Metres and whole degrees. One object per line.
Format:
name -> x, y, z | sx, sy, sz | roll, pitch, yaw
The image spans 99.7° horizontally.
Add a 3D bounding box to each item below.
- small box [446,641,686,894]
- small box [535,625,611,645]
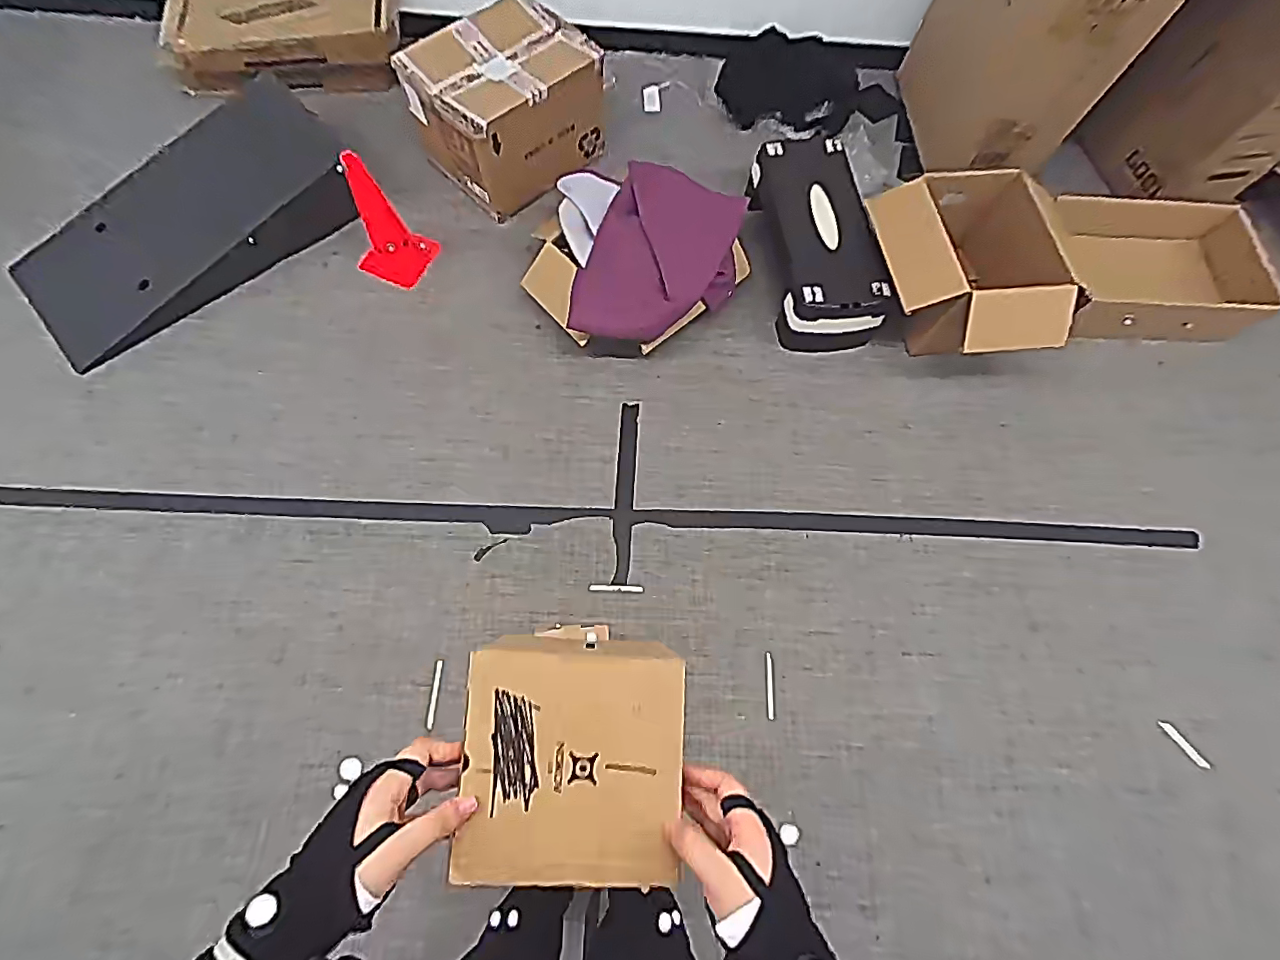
small box -> -0.059, 0.244, 0.500 | 0.179, 0.176, 0.168 | 4, 78, -4
small box -> -0.146, 0.432, 1.227 | 0.168, 0.176, 0.179 | -4, 71, -3
